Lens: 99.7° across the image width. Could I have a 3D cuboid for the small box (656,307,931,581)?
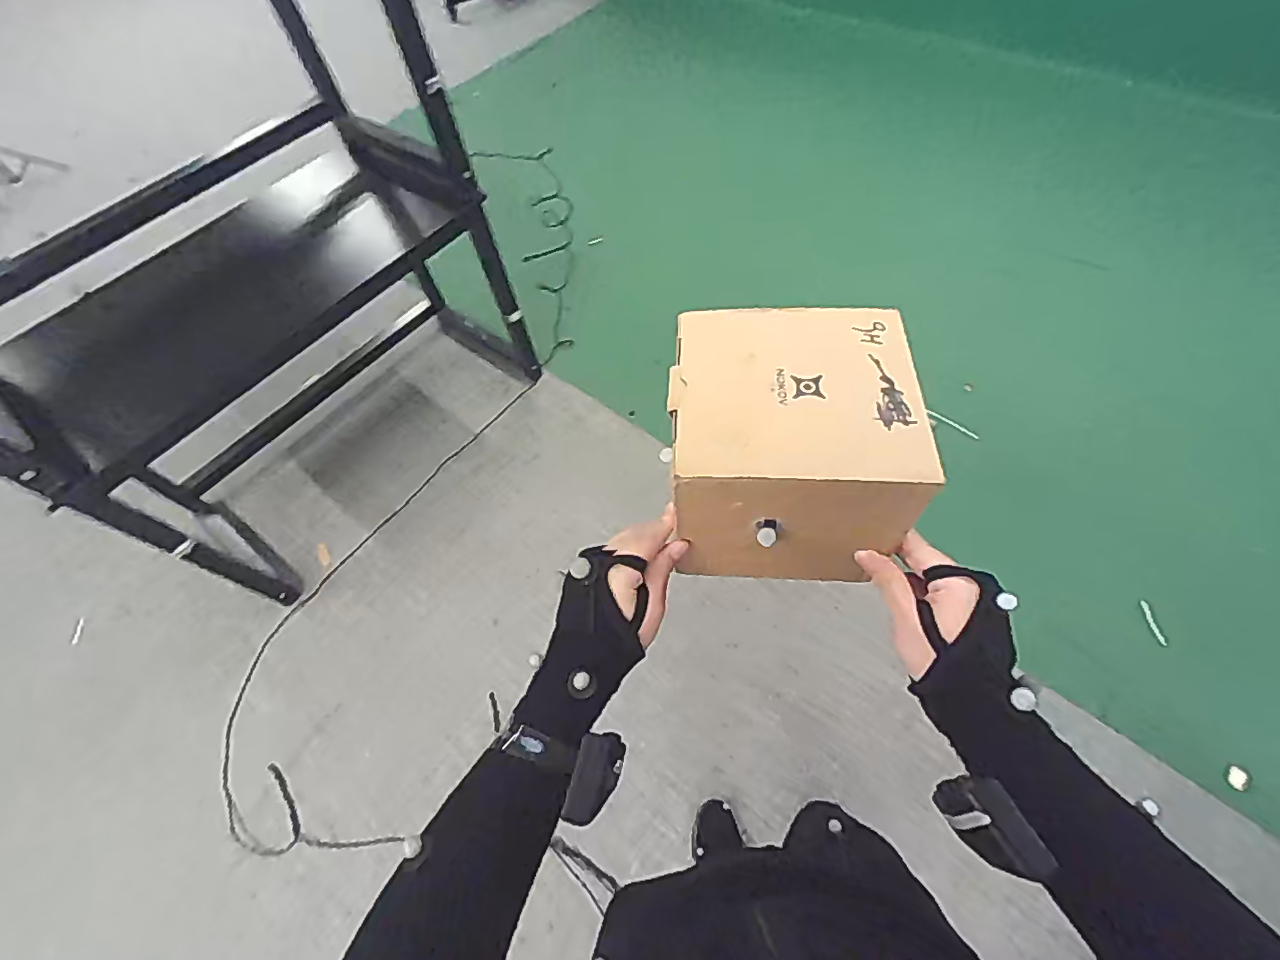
[{"bbox_3d":[0.111,-0.023,0.456,0.179,0.176,0.168,0,57,7],"label":"small box"}]
